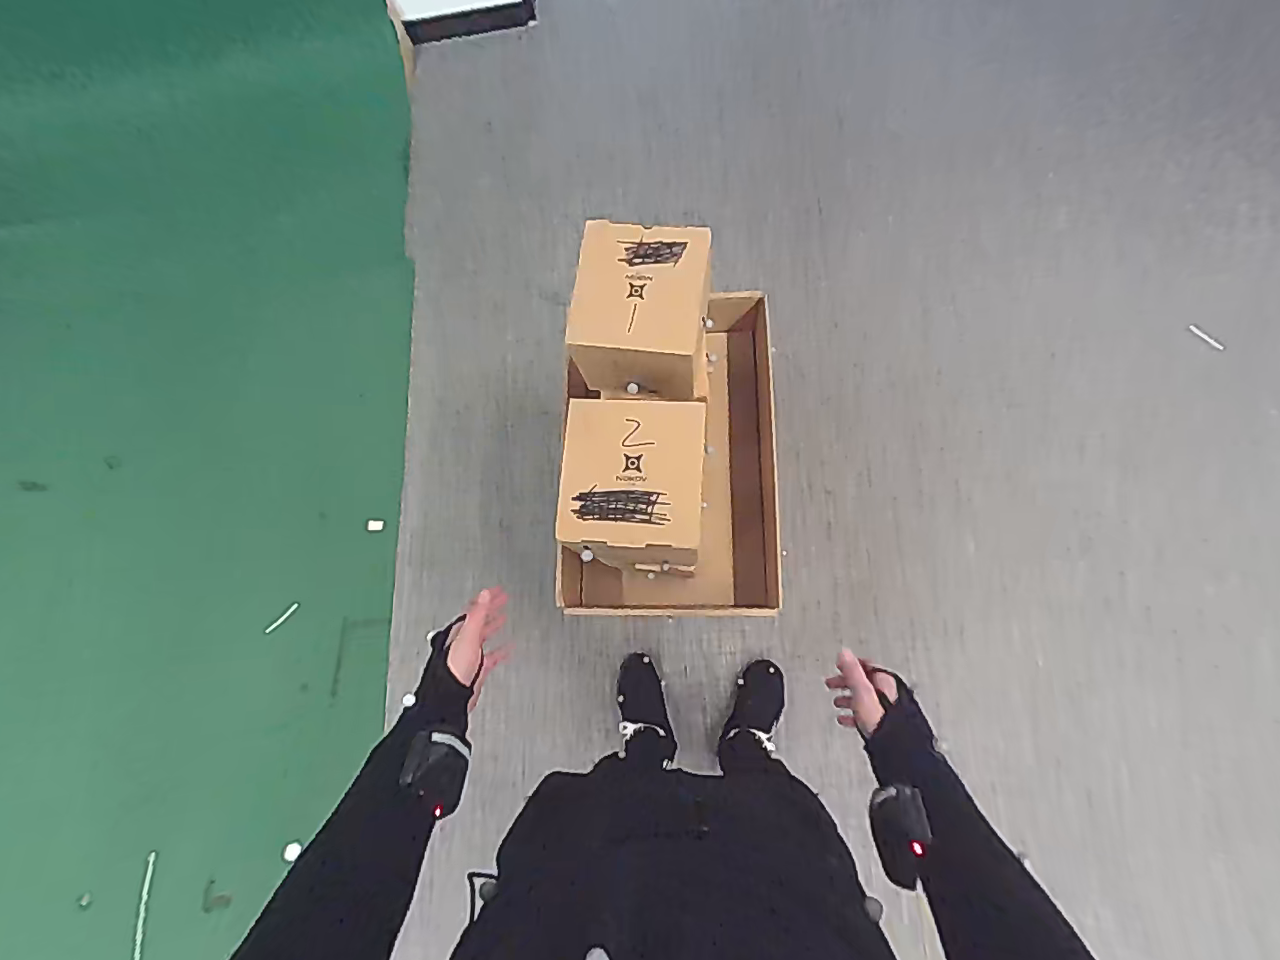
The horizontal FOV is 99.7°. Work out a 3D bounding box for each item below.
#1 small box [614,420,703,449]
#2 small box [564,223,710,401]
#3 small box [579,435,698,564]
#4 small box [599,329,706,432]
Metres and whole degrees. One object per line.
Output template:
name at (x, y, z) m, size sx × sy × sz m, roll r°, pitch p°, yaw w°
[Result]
small box at (0.041, -0.161, 1.081) m, size 0.168 × 0.176 × 0.179 m, roll -2°, pitch 79°, yaw 6°
small box at (0.003, -0.229, 0.764) m, size 0.168 × 0.176 × 0.179 m, roll 8°, pitch 81°, yaw 7°
small box at (0.006, 0.039, 0.869) m, size 0.168 × 0.176 × 0.179 m, roll 3°, pitch 76°, yaw 6°
small box at (0.024, -0.191, 0.923) m, size 0.168 × 0.176 × 0.179 m, roll -2°, pitch 79°, yaw 5°
